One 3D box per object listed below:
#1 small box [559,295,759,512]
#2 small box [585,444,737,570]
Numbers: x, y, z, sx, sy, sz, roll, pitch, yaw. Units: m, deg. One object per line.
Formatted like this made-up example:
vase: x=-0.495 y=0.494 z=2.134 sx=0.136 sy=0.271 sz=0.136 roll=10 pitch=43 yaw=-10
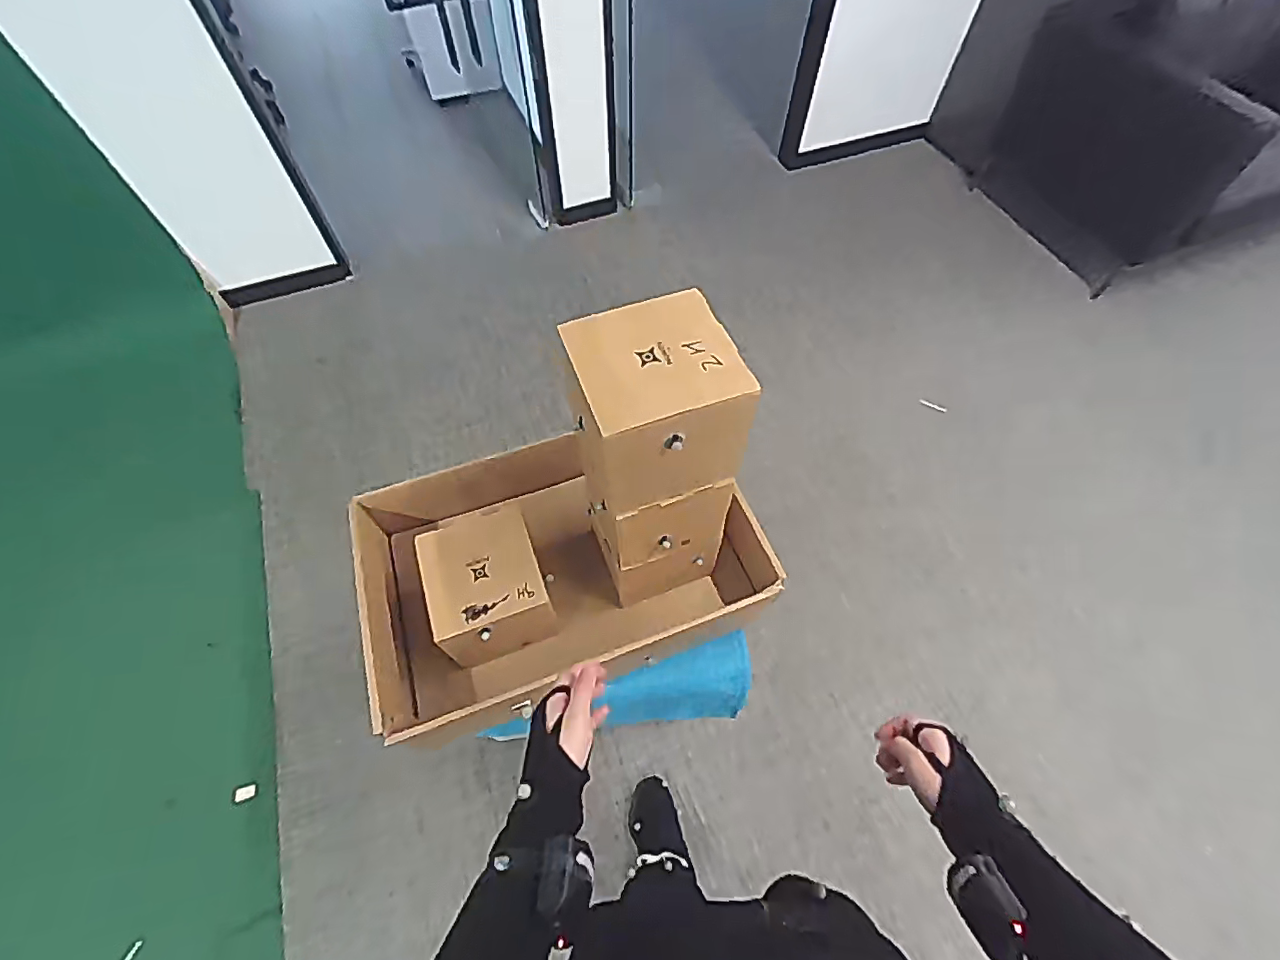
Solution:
small box: x=0.017 y=-0.084 z=0.645 sx=0.179 sy=0.176 sz=0.168 roll=-17 pitch=60 yaw=-10
small box: x=0.020 y=0.003 z=0.786 sx=0.168 sy=0.176 sz=0.179 roll=-17 pitch=60 yaw=-10
